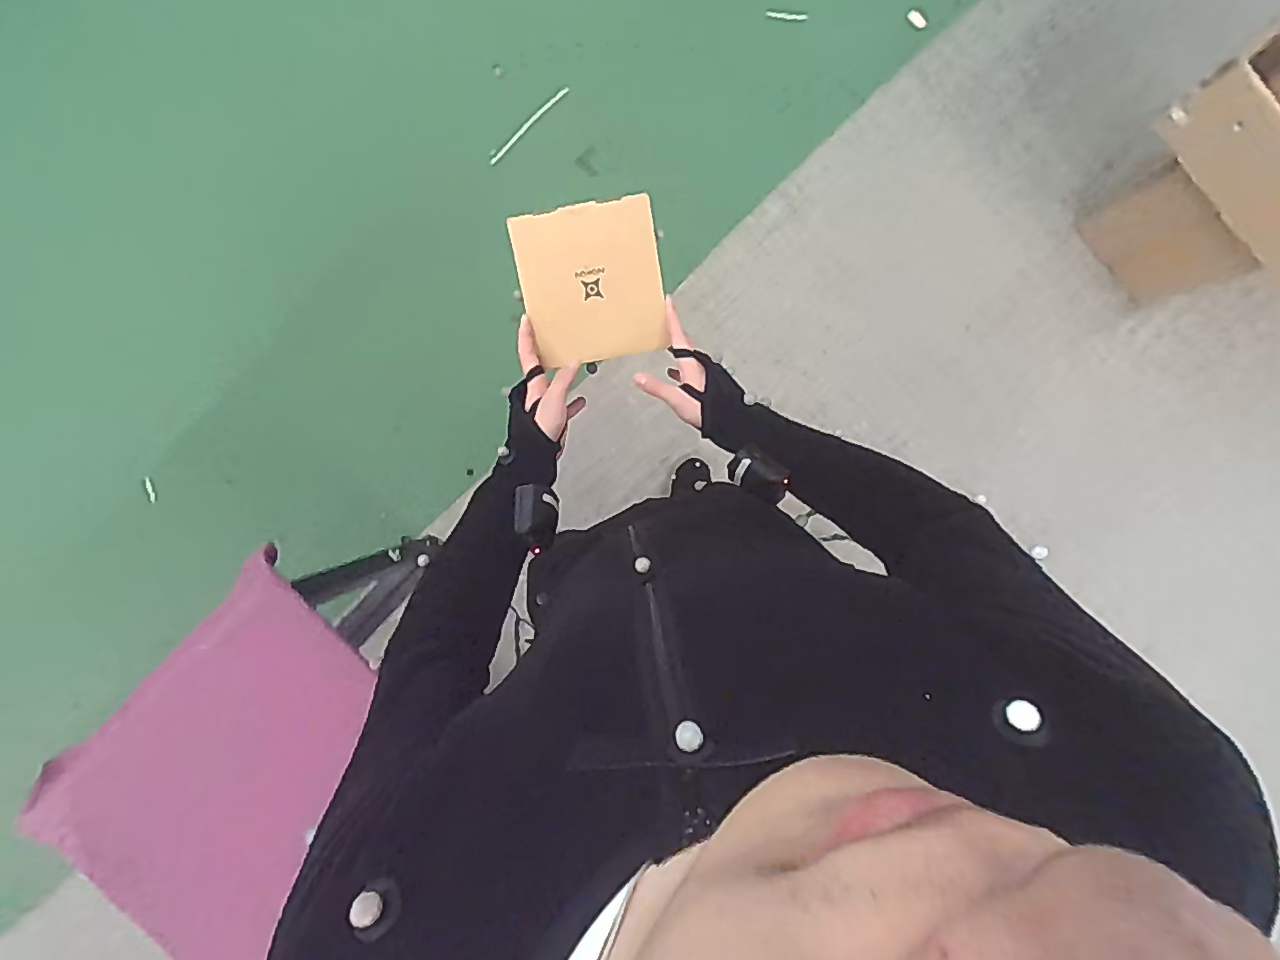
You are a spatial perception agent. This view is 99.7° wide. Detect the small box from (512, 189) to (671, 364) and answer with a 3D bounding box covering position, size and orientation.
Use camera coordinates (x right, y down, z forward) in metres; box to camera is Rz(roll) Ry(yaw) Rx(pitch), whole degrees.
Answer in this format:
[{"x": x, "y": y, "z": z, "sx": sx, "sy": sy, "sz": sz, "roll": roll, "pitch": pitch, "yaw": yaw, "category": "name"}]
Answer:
[{"x": -0.055, "y": -0.254, "z": 0.709, "sx": 0.168, "sy": 0.176, "sz": 0.179, "roll": -9, "pitch": 103, "yaw": 1, "category": "small box"}]
